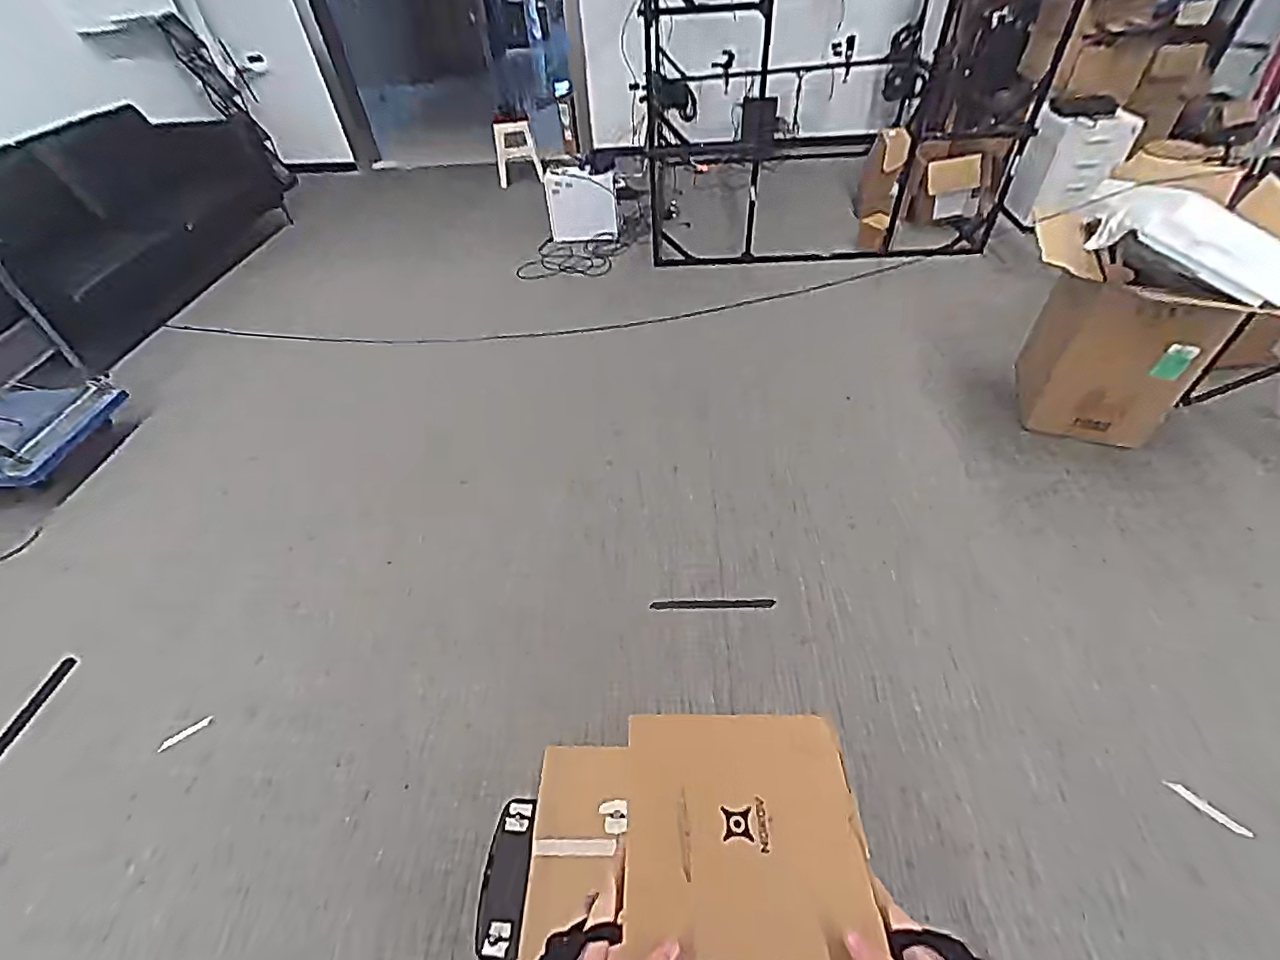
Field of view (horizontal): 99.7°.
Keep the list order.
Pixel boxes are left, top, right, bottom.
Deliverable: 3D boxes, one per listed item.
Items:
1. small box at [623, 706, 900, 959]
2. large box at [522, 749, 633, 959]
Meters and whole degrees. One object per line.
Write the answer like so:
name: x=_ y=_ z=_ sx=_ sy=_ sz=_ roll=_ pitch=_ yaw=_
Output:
small box: x=0.081 y=0.307 z=0.449 sx=0.179 sy=0.176 sz=0.168 roll=-1 pitch=42 yaw=3
large box: x=0.042 y=0.687 z=0.955 sx=0.408 sy=0.320 sz=0.320 roll=-2 pitch=45 yaw=4
